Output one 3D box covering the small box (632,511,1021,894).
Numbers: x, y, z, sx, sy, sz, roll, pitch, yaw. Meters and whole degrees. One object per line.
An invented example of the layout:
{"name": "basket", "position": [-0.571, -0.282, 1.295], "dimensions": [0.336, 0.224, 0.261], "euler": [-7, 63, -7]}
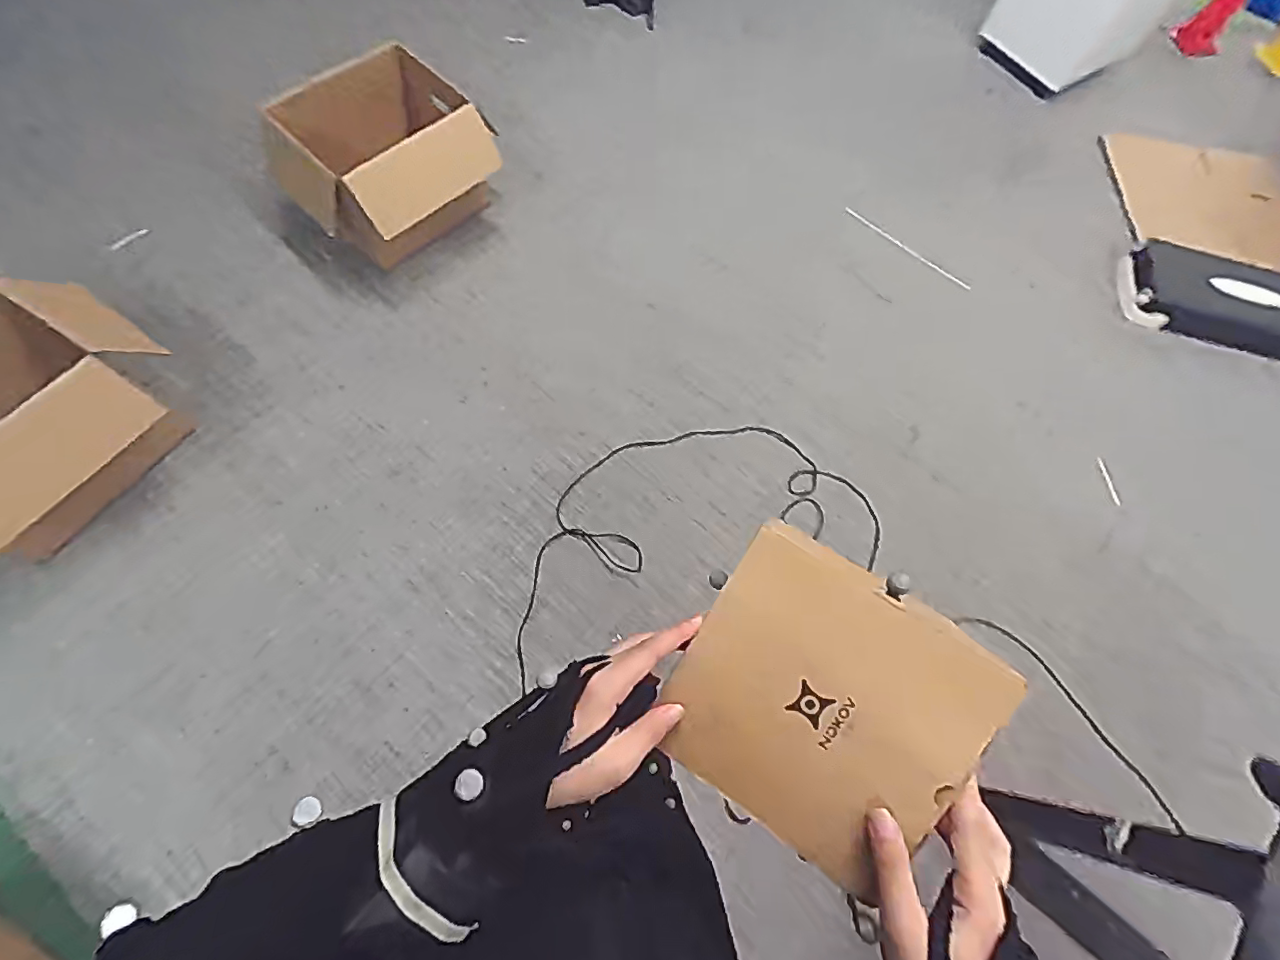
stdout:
{"name": "small box", "position": [0.125, 0.138, 0.409], "dimensions": [0.179, 0.176, 0.168], "euler": [31, 95, 14]}
